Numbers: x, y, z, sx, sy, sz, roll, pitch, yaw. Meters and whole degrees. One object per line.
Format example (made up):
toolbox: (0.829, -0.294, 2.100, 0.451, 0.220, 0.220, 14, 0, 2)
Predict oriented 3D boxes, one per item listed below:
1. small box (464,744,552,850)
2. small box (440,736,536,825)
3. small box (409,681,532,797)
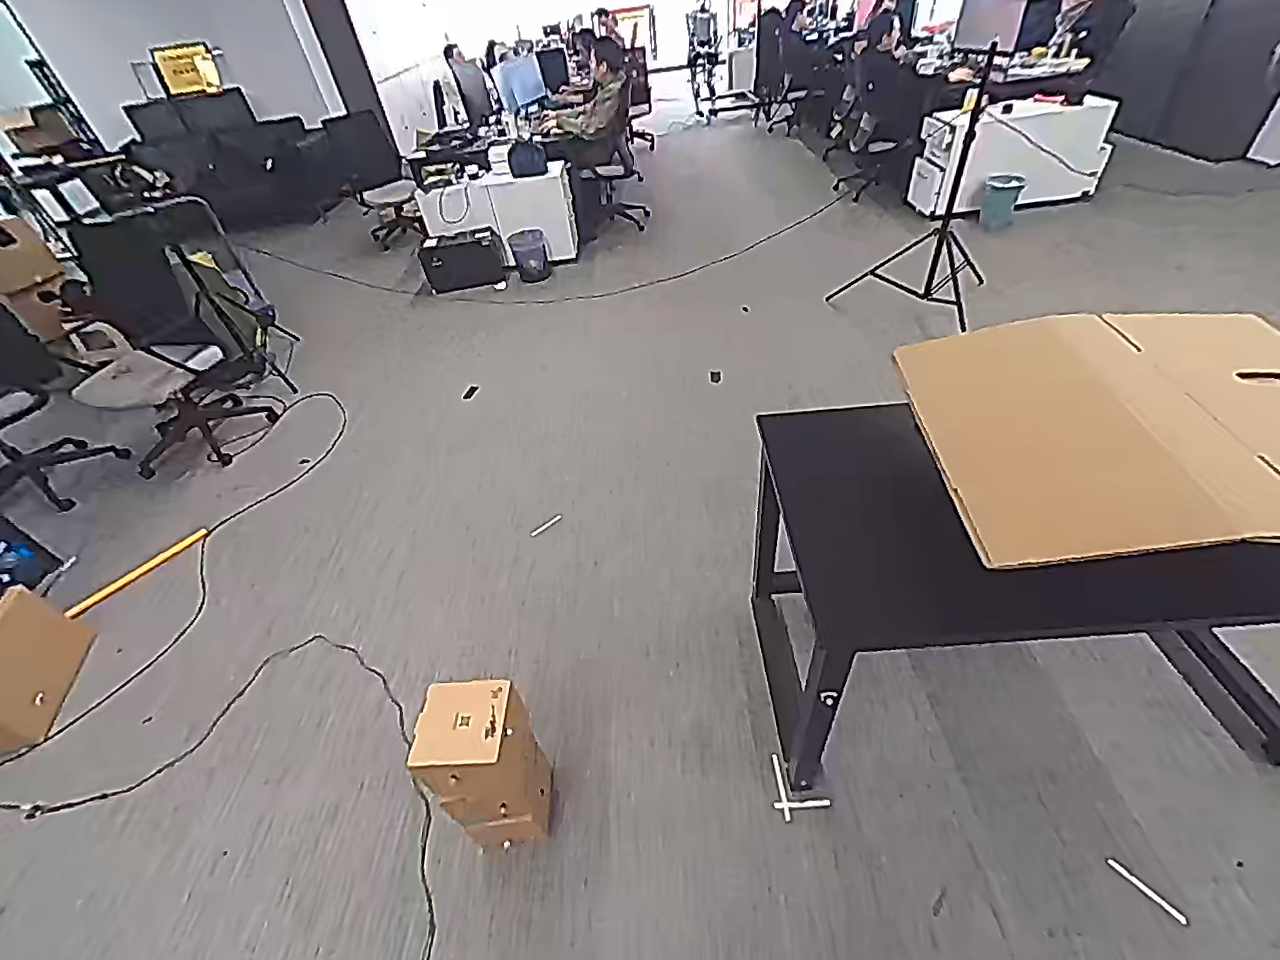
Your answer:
small box: (-0.316, 0.783, 1.335, 0.168, 0.176, 0.179, -8, 43, 1)
small box: (-0.336, 0.660, 1.231, 0.168, 0.176, 0.179, -9, 41, -2)
small box: (-0.340, 0.539, 1.120, 0.179, 0.176, 0.168, -5, 42, 4)
